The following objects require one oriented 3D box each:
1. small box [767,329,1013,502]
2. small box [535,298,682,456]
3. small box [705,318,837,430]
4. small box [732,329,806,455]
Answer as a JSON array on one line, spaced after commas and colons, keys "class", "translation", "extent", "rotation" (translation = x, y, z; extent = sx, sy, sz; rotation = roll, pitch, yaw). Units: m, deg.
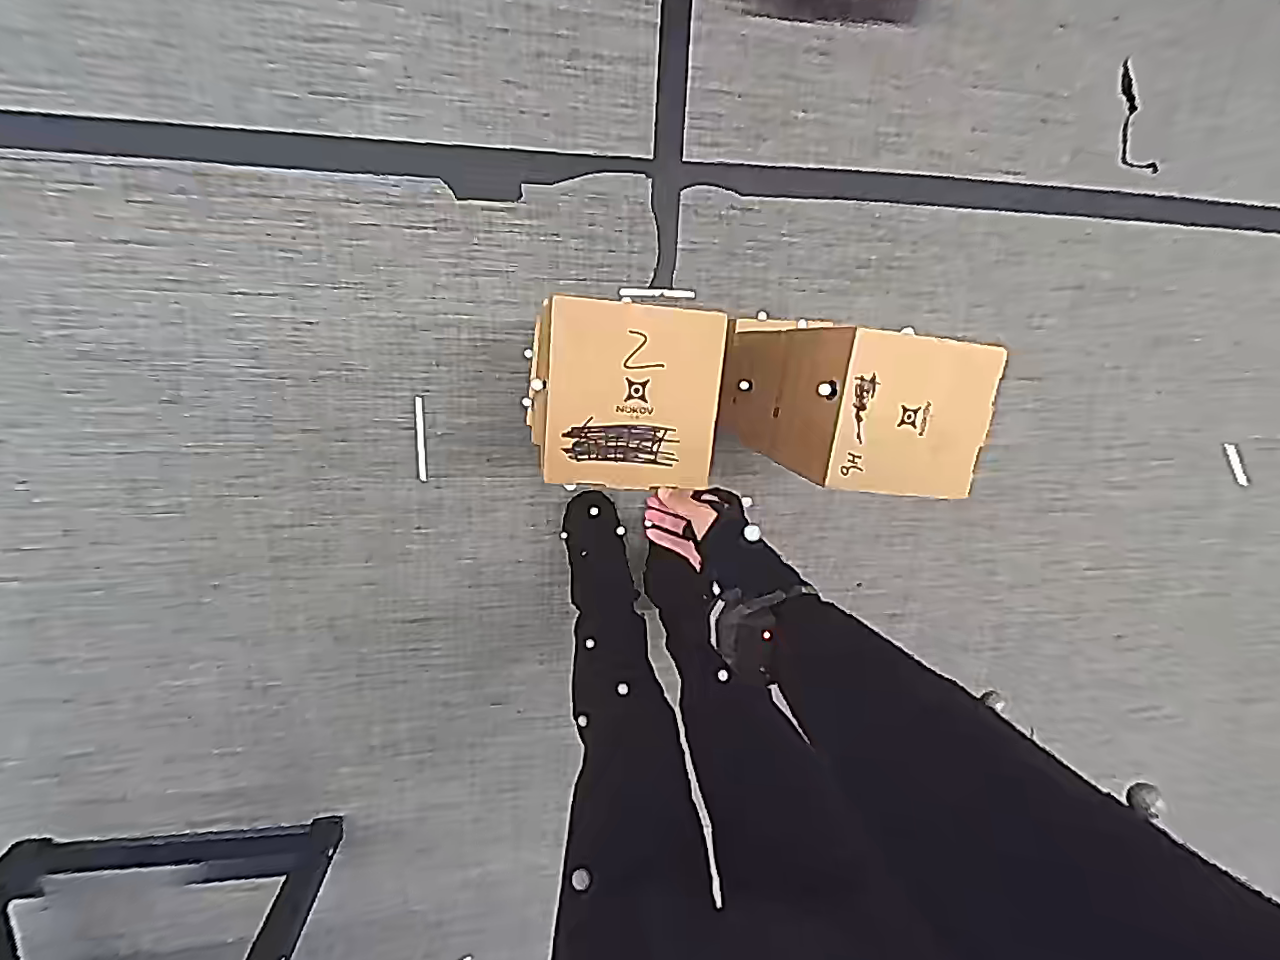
[{"class": "small box", "translation": [0.273, -0.082, 0.630], "extent": [0.179, 0.176, 0.168], "rotation": [5, 104, -12]}, {"class": "small box", "translation": [-0.053, -0.140, 0.734], "extent": [0.168, 0.176, 0.179], "rotation": [4, 103, -13]}, {"class": "small box", "translation": [0.215, -0.184, 0.937], "extent": [0.168, 0.176, 0.179], "rotation": [-1, 104, -10]}, {"class": "small box", "translation": [0.246, -0.126, 0.785], "extent": [0.179, 0.176, 0.168], "rotation": [2, 105, -11]}]
